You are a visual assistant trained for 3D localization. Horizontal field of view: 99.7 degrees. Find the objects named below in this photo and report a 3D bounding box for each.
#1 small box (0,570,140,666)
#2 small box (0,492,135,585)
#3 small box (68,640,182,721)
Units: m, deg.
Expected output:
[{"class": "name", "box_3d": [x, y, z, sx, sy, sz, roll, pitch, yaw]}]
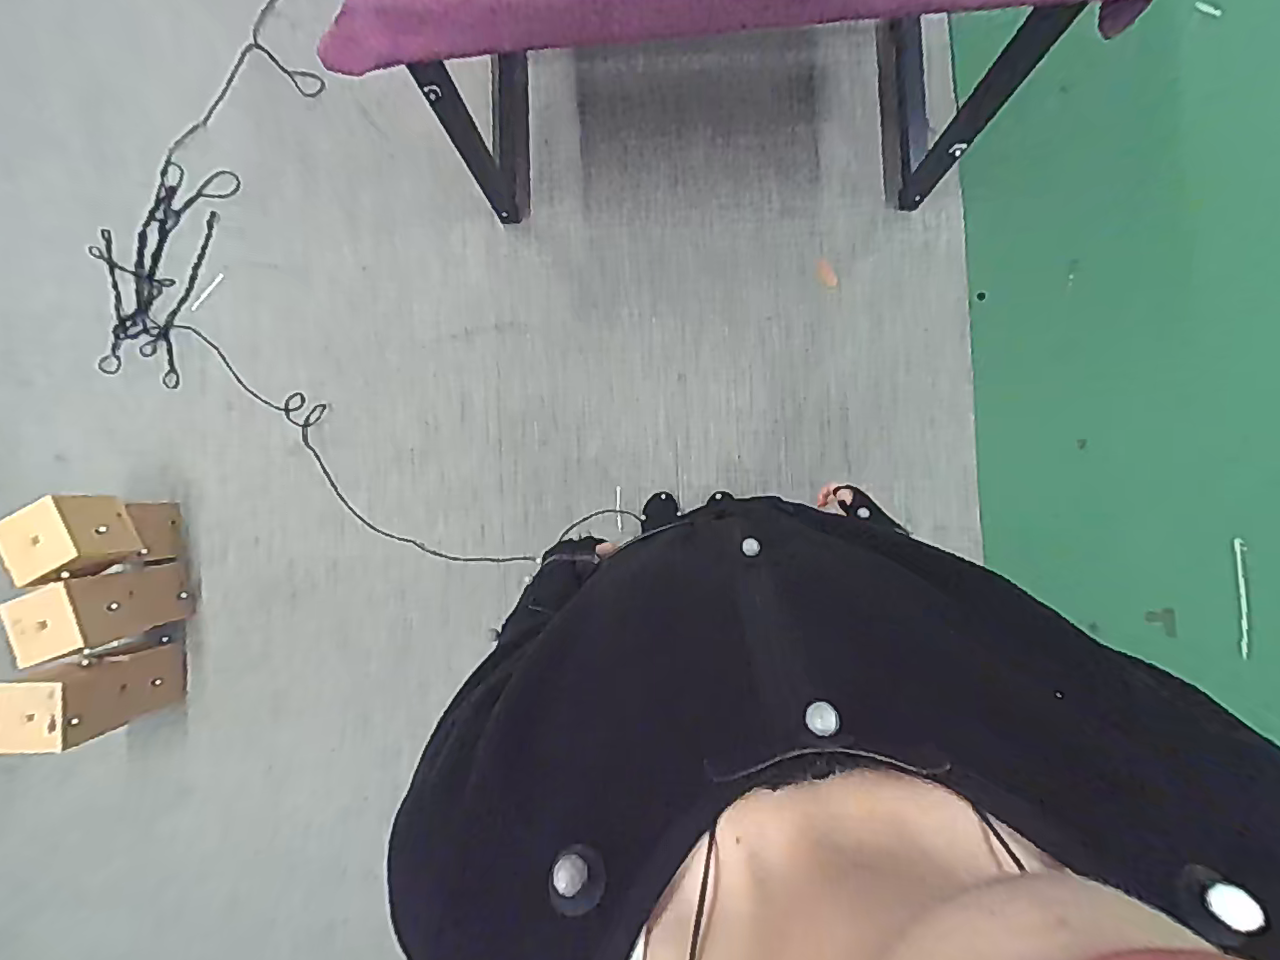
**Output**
[{"class": "small box", "box_3d": [-1.402, 0.334, 1.342, 0.179, 0.176, 0.168, -20, 87, 3]}, {"class": "small box", "box_3d": [-1.423, 0.138, 1.347, 0.179, 0.176, 0.168, -28, 87, 3]}, {"class": "small box", "box_3d": [-1.419, 0.547, 1.499, 0.168, 0.176, 0.179, -2, 89, 4]}]
